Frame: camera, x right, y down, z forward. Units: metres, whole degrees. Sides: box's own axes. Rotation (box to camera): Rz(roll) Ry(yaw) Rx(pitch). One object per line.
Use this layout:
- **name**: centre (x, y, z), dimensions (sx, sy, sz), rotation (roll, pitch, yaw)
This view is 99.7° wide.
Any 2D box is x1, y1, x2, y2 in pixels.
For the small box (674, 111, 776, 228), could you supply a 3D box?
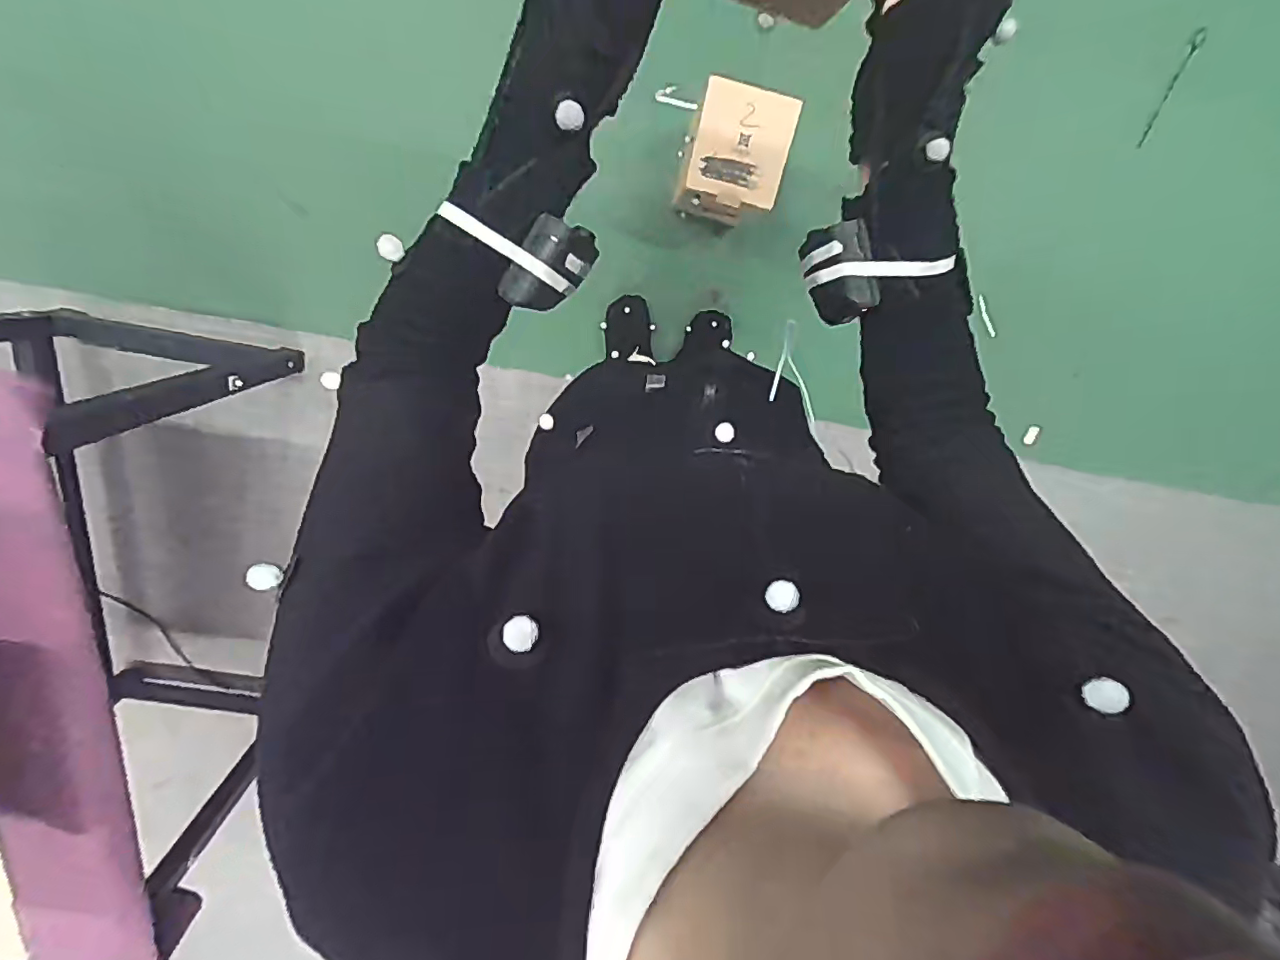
- **small box**: centre (0.175, -0.662, 1.177), dimensions (0.168, 0.176, 0.179), rotation (12, 110, -6)
